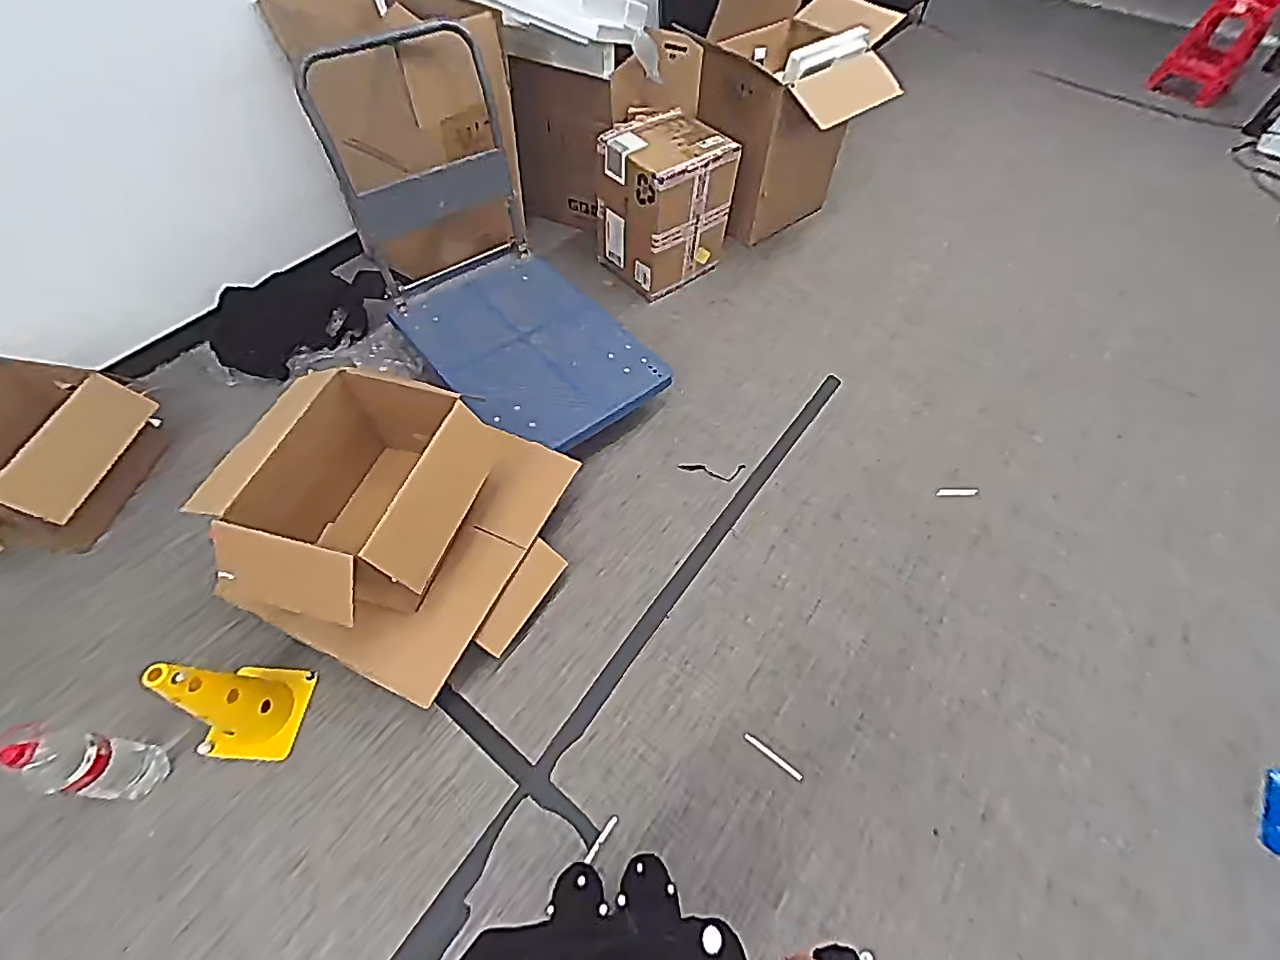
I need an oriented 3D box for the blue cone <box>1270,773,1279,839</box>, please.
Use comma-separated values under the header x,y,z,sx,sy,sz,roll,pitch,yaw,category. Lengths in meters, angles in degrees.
x,y,z,sx,sy,sz,roll,pitch,yaw,category
1.533,0.692,1.073,0.192,0.380,0.193,37,63,19,blue cone
